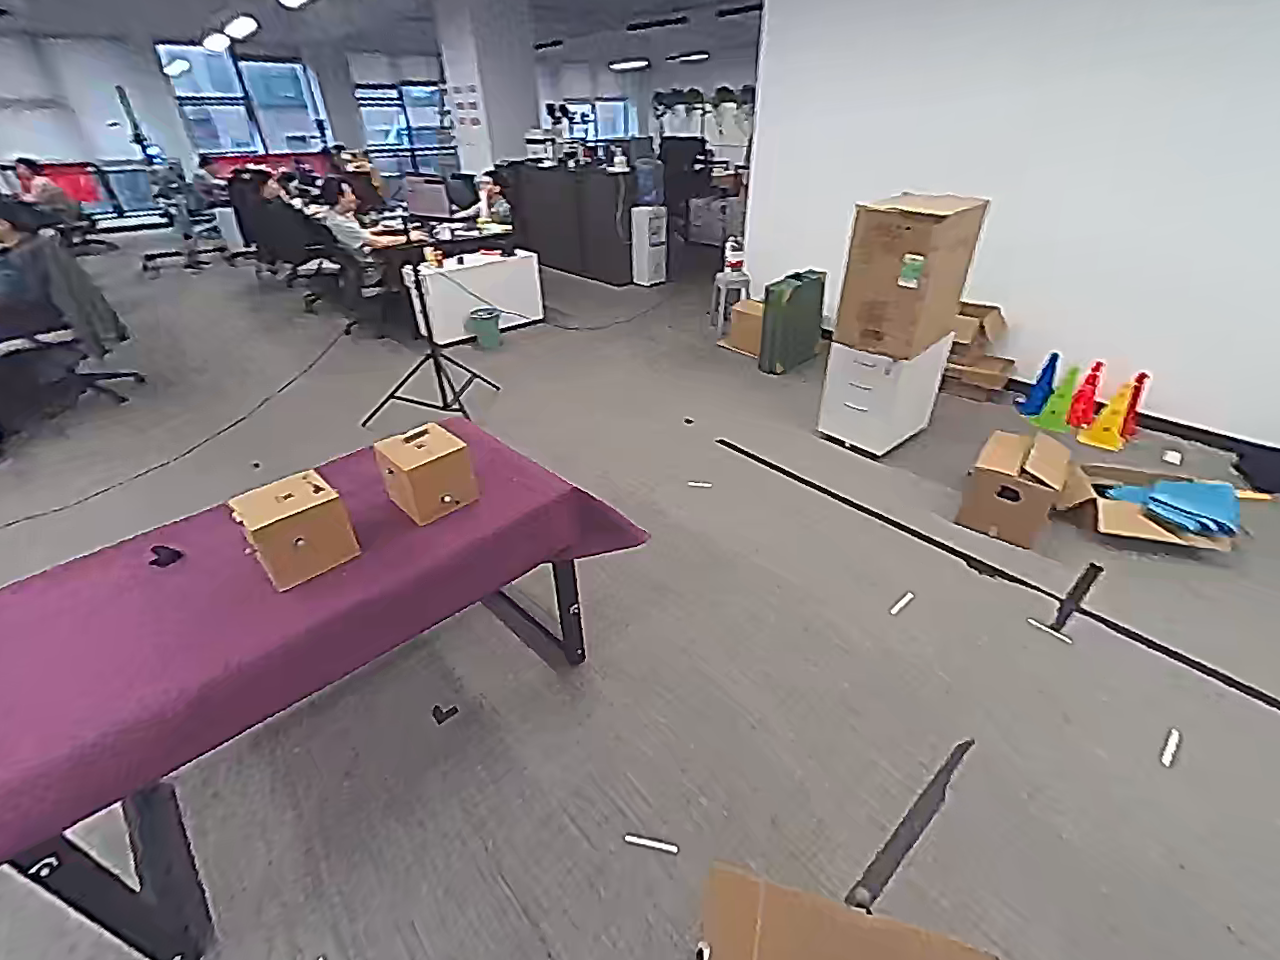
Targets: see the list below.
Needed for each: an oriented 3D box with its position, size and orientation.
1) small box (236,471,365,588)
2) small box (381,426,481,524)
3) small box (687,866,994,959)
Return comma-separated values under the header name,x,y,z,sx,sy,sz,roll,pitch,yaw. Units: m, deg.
name,x,y,z,sx,sy,sz,roll,pitch,yaw
small box,-0.755,0.110,1.213,0.168,0.176,0.179,28,44,37
small box,-0.535,-0.014,1.393,0.179,0.176,0.168,28,44,36
small box,0.133,0.404,0.400,0.179,0.176,0.168,14,56,1
